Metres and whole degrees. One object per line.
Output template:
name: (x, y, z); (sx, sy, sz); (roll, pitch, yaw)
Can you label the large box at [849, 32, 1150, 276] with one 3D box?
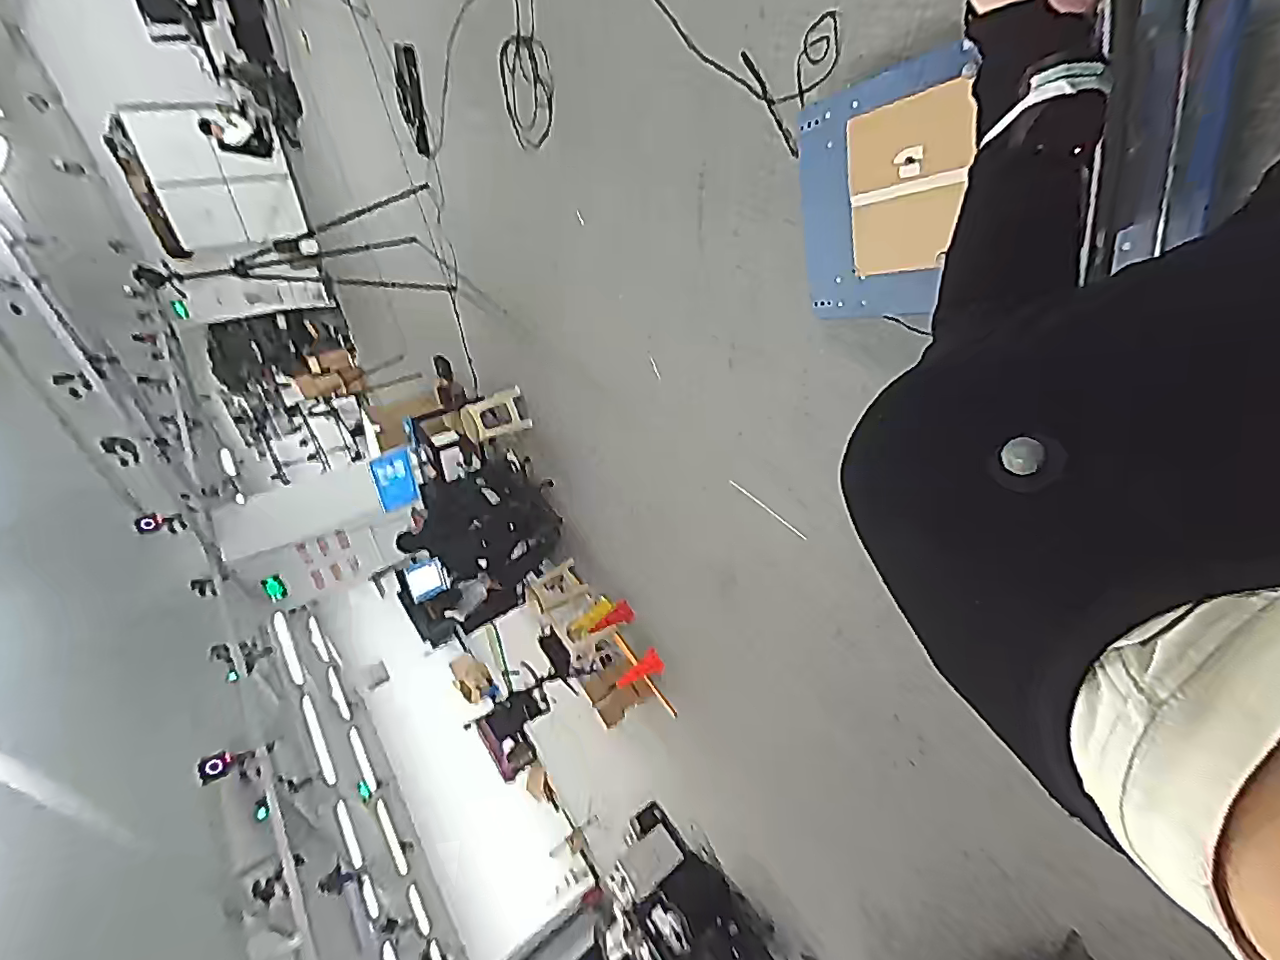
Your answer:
large box: (0.694, -0.619, 1.080); (0.408, 0.320, 0.320); (20, 127, 53)
